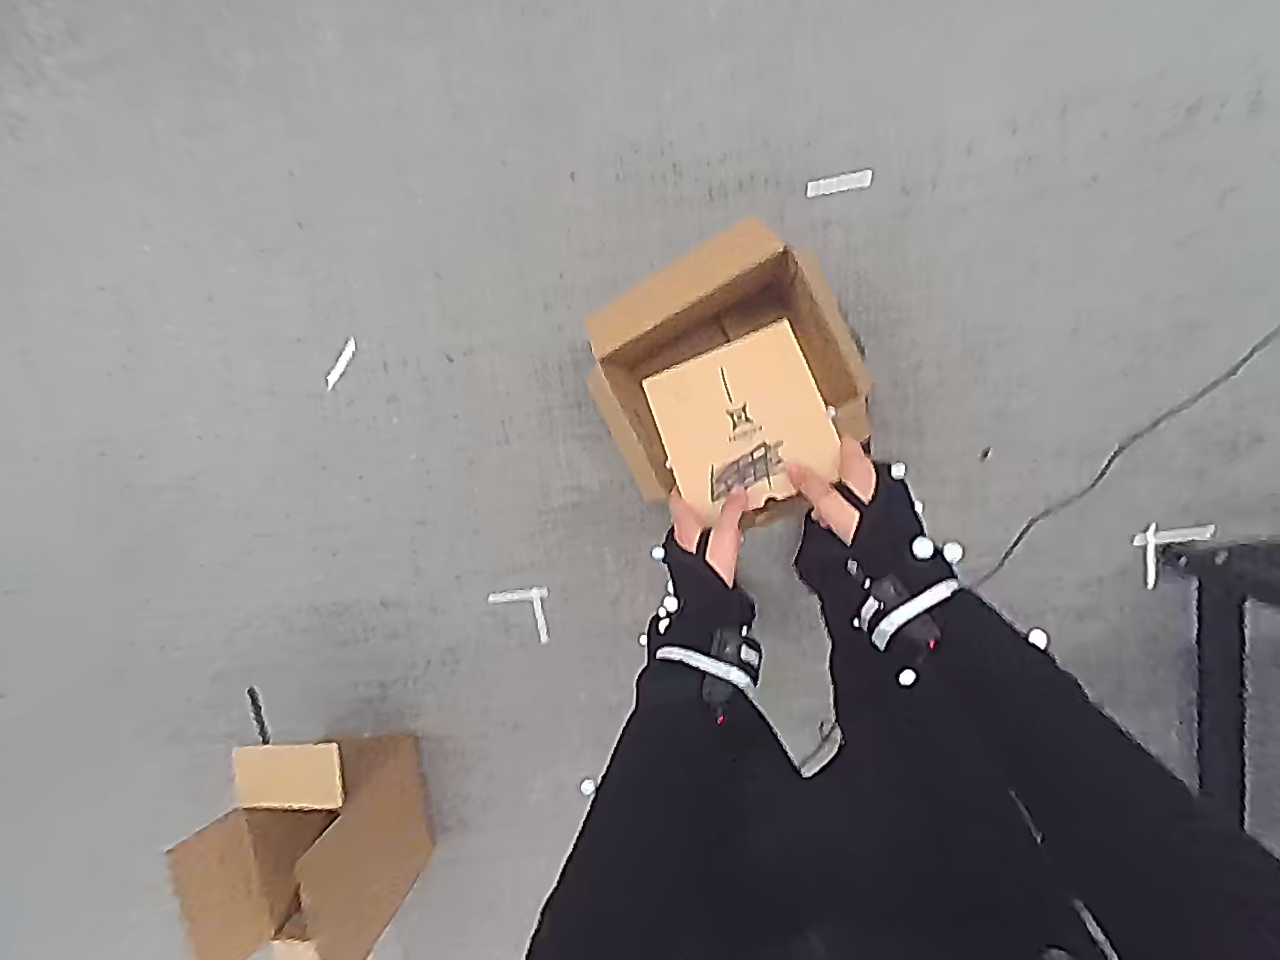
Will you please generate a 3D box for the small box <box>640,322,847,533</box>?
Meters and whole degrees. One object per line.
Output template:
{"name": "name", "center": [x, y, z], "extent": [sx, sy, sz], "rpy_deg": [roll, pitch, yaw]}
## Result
{"name": "small box", "center": [0.122, -0.044, 0.627], "extent": [0.168, 0.176, 0.179], "rpy_deg": [-22, 75, 11]}
